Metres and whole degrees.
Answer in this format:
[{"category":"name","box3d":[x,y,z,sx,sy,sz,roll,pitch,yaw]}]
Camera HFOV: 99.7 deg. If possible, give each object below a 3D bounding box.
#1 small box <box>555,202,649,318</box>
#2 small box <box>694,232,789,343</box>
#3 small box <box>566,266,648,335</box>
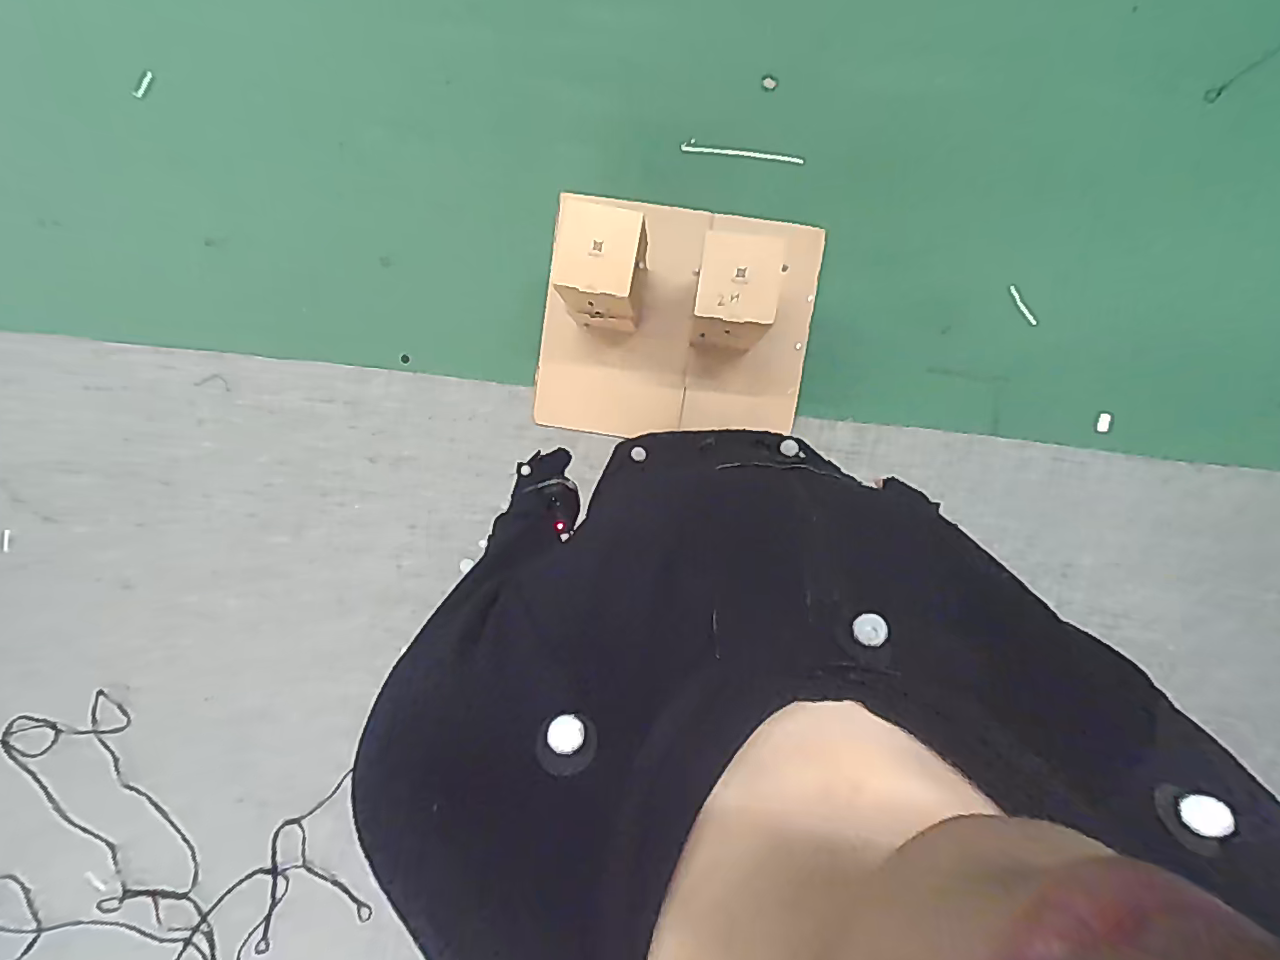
[{"category":"small box","box3d":[-0.077,-0.471,1.179,0.168,0.176,0.179,11,95,2]},{"category":"small box","box3d":[0.211,-0.407,1.167,0.168,0.176,0.179,8,94,3]},{"category":"small box","box3d":[-0.074,-0.471,1.342,0.168,0.176,0.179,10,94,3]}]
